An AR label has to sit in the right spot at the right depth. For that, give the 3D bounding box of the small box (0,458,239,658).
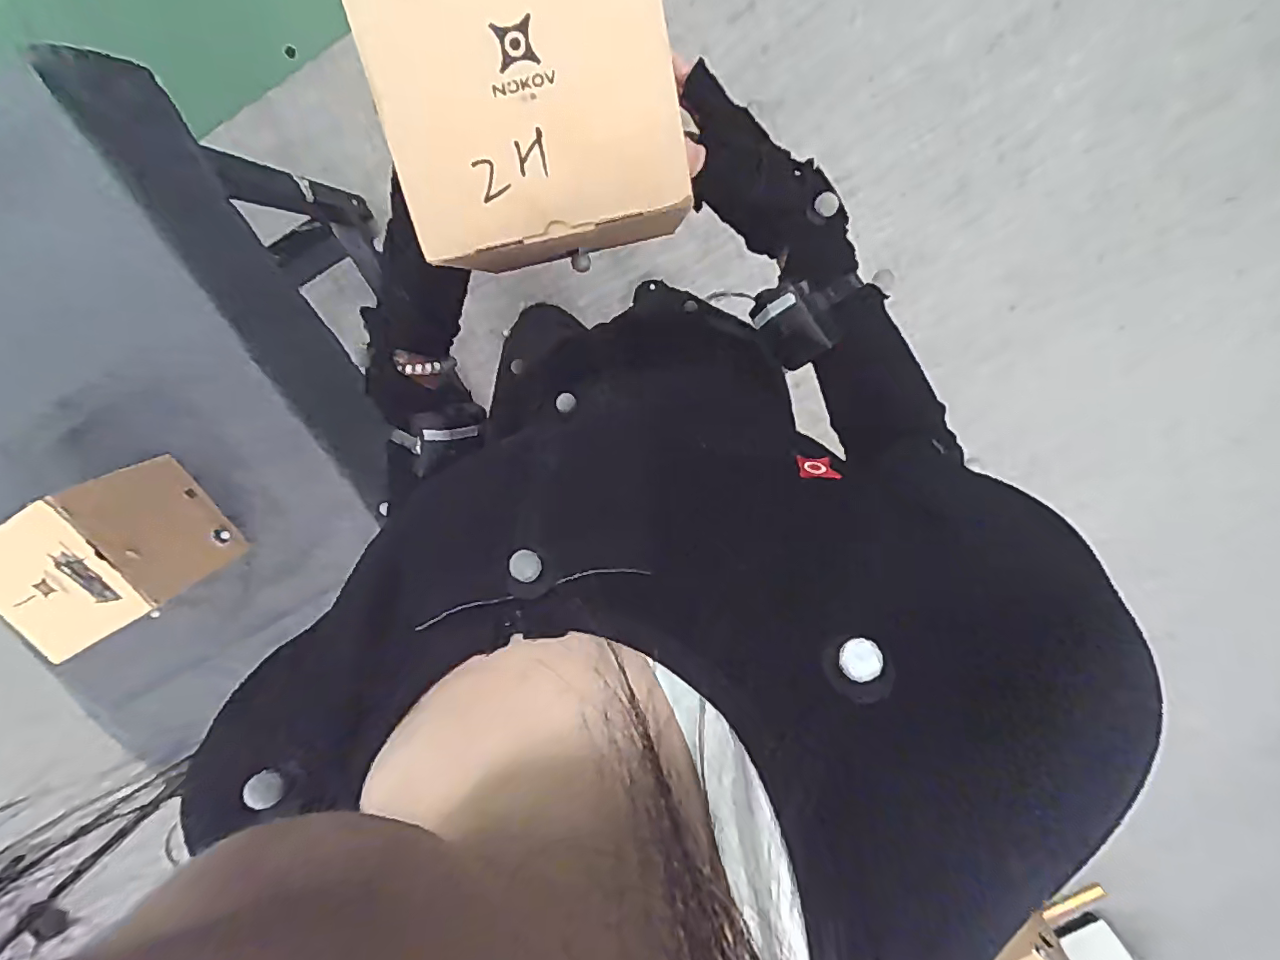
[{"bbox_3d":[-0.686,0.094,0.716,0.179,0.176,0.168,-27,107,12],"label":"small box"}]

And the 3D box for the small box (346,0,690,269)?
[{"bbox_3d":[-0.067,-0.253,0.366,0.168,0.176,0.179,-11,109,4],"label":"small box"}]
